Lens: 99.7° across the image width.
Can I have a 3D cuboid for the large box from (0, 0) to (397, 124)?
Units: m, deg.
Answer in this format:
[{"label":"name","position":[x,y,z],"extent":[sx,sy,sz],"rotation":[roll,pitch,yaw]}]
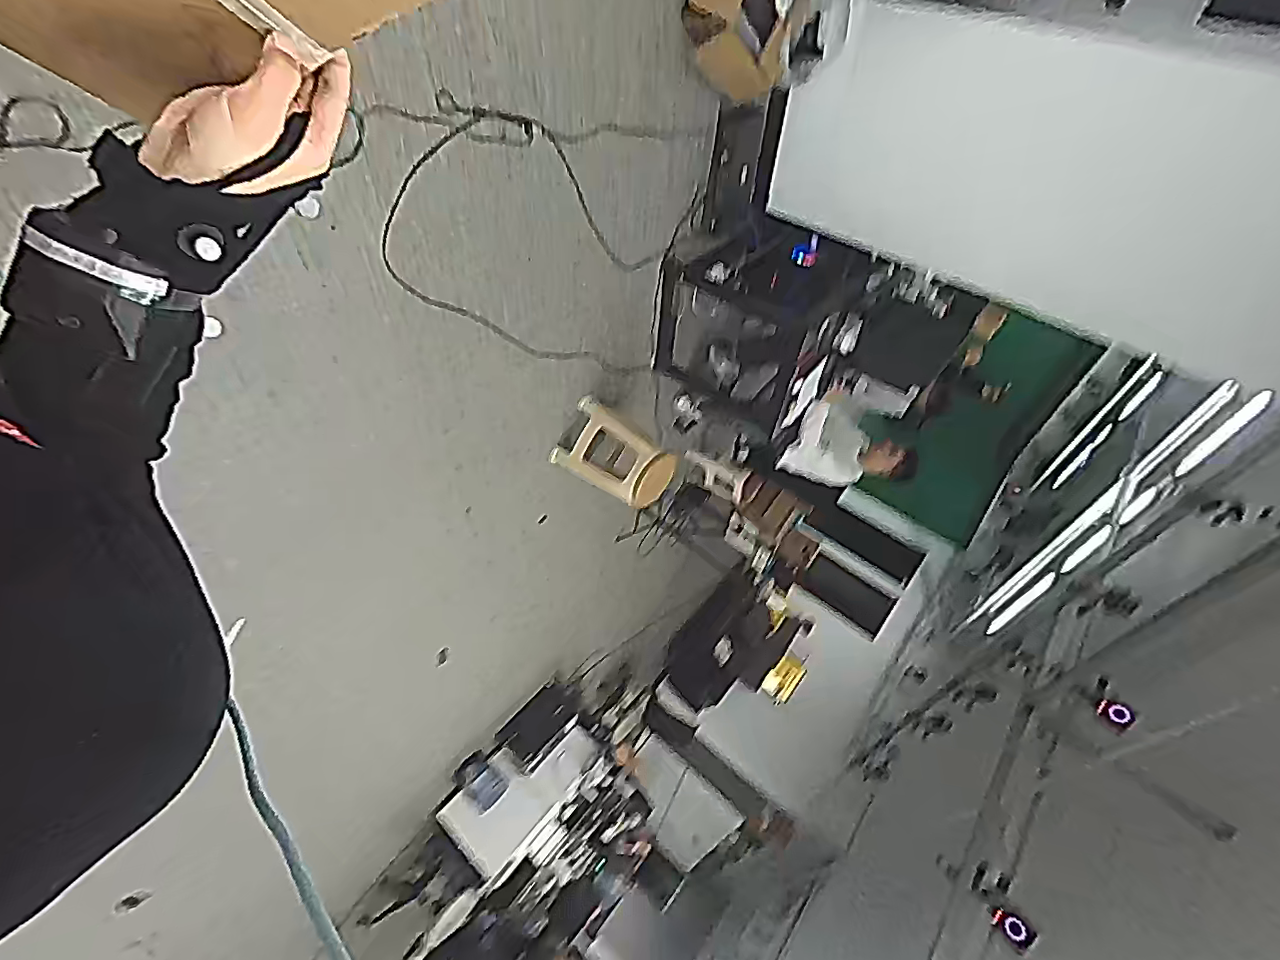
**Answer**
[{"label":"large box","position":[-0.278,-0.415,0.147],"extent":[0.408,0.320,0.320],"rotation":[8,82,-64]}]
